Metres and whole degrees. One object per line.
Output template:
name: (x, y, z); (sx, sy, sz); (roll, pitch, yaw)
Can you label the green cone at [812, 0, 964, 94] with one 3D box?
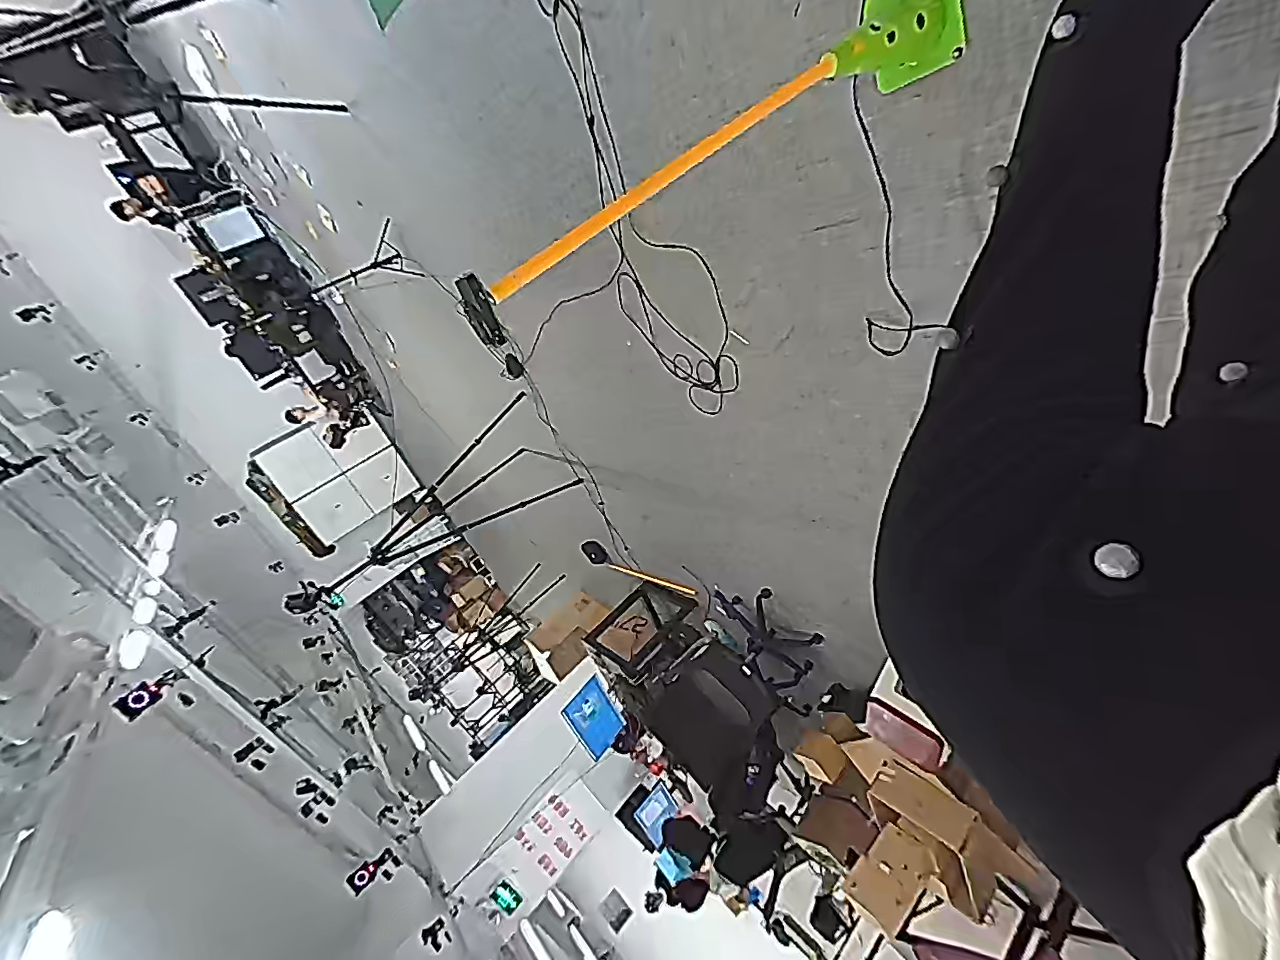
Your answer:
green cone: (0.487, -0.915, 1.140); (0.202, 0.368, 0.200); (12, 134, 54)
